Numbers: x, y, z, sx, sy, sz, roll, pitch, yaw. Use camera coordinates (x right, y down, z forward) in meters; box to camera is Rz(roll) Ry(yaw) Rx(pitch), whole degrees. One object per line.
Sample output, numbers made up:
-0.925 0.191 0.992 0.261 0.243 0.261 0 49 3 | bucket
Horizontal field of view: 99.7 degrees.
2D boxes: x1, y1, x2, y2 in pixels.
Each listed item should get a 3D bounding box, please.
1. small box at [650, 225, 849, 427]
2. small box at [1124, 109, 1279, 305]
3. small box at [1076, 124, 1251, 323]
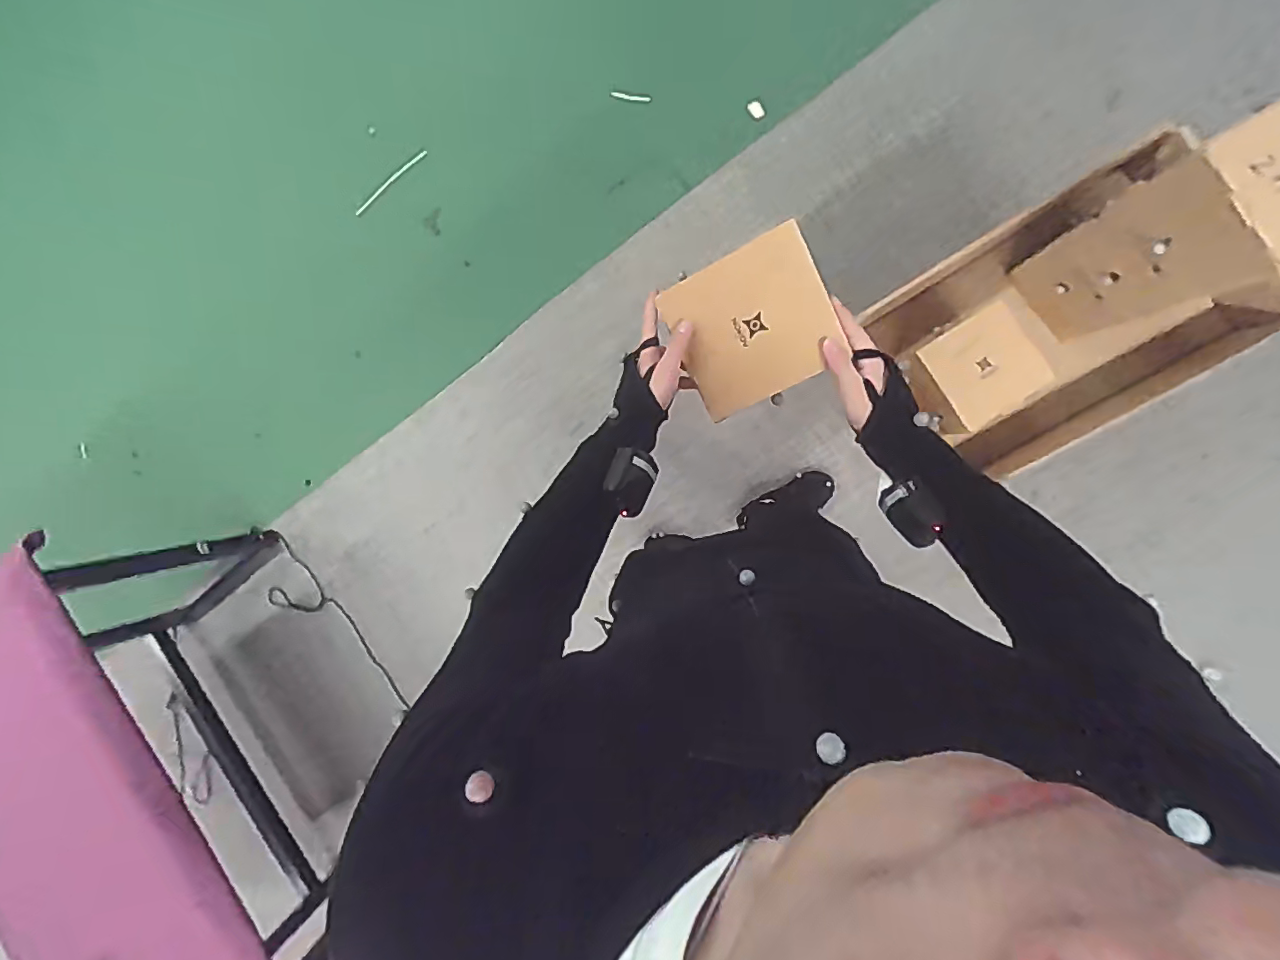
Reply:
0.137 -0.190 0.682 0.179 0.176 0.168 -26 99 20 | small box
0.751 -0.338 0.641 0.179 0.176 0.168 -29 87 13 | small box
0.800 -0.359 0.799 0.179 0.176 0.168 -37 86 13 | small box
